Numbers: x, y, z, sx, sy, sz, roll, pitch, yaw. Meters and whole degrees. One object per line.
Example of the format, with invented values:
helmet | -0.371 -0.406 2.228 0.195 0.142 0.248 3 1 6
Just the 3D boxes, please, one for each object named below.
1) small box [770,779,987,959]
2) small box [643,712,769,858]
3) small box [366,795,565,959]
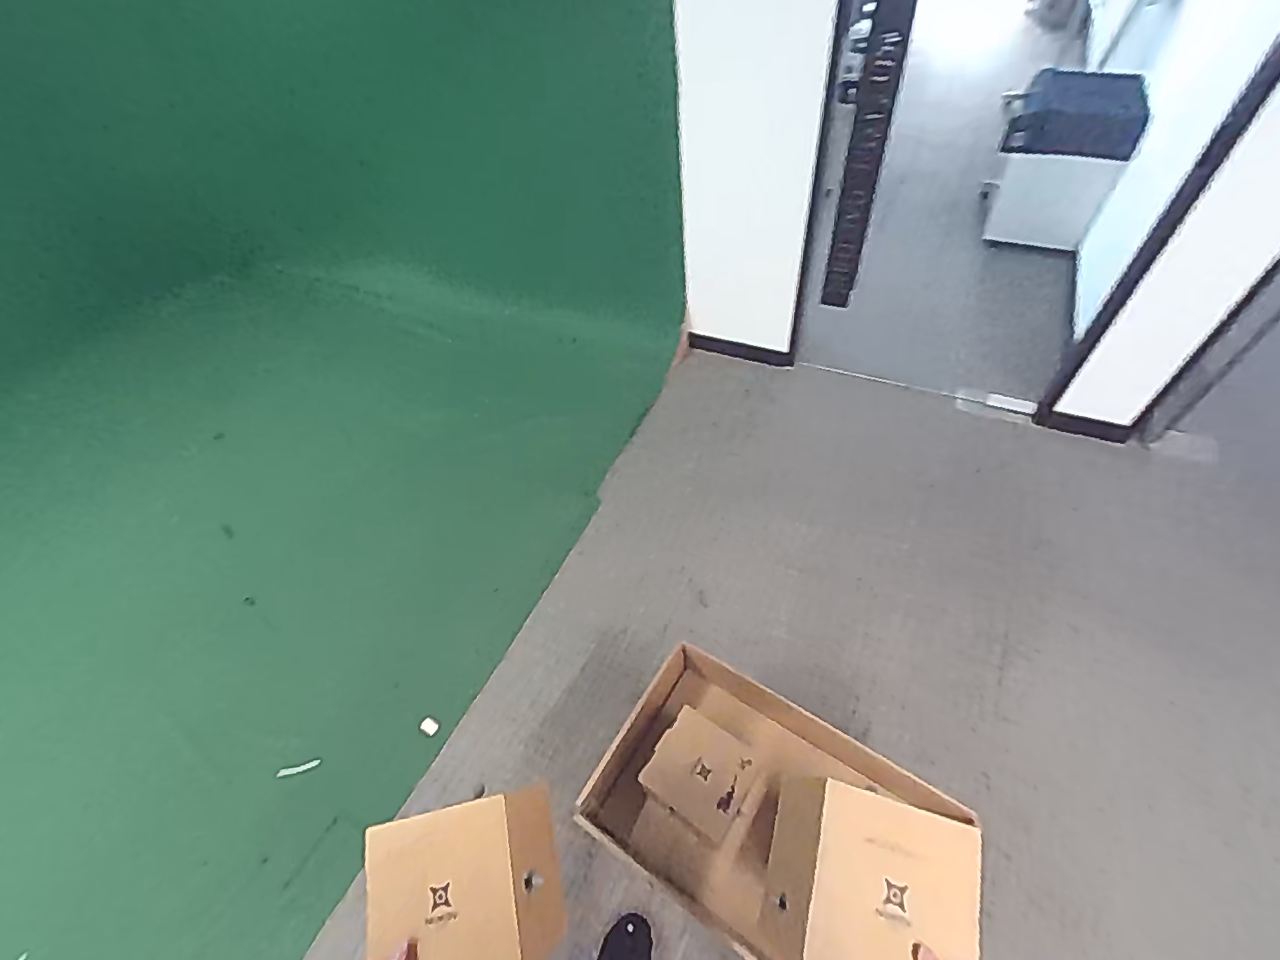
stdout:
small box | 0.249 0.450 0.593 0.168 0.176 0.179 15 61 7
small box | 0.128 0.592 1.044 0.179 0.176 0.168 27 59 27
small box | -0.197 0.487 0.637 0.168 0.176 0.179 -16 64 0
